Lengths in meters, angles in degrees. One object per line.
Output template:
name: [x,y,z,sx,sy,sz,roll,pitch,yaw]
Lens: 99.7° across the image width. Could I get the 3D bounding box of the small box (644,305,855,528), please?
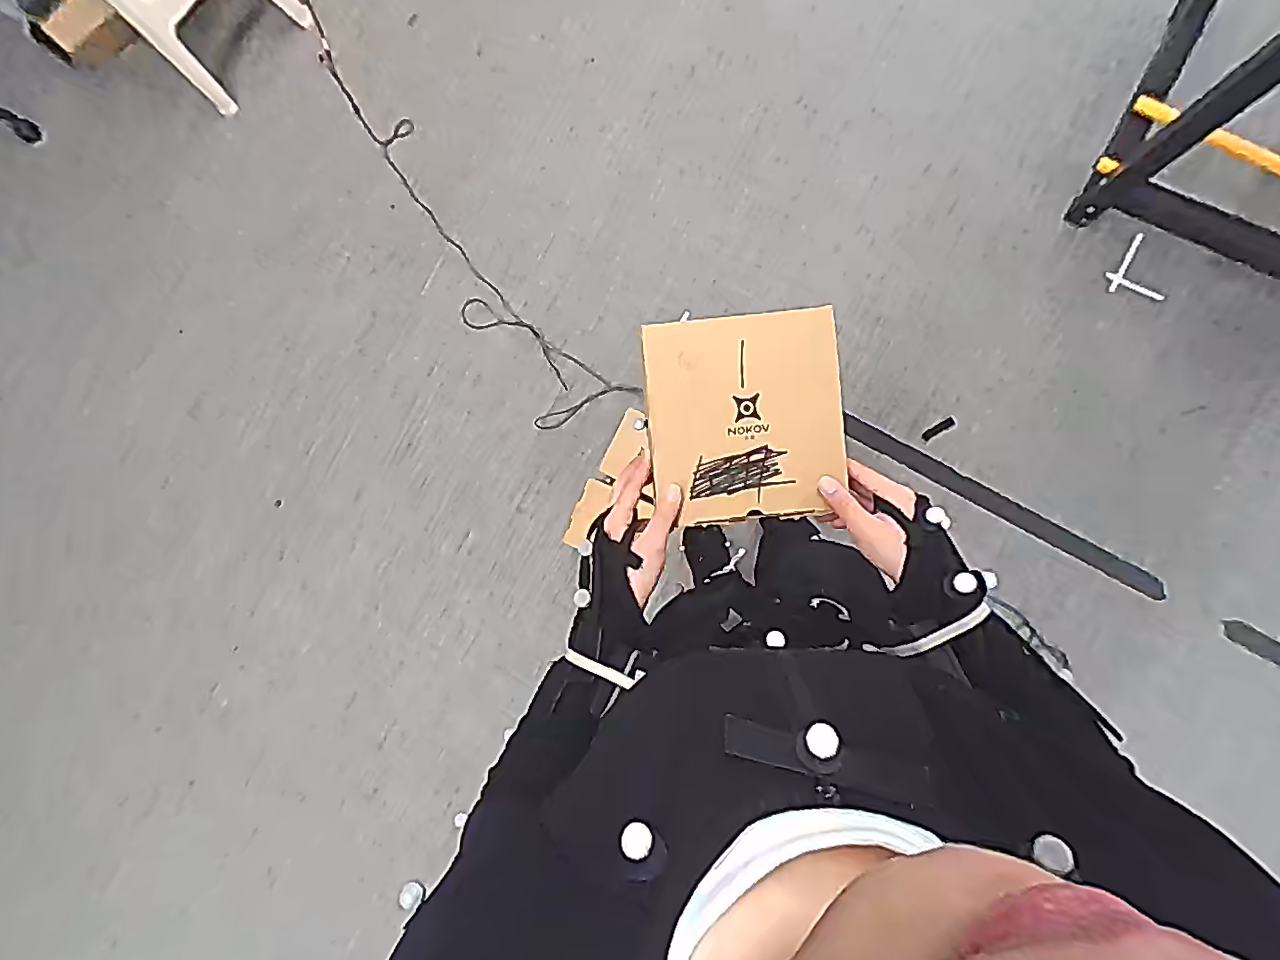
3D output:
small box: [0.093,-0.056,0.528,0.168,0.176,0.179,-5,92,0]
